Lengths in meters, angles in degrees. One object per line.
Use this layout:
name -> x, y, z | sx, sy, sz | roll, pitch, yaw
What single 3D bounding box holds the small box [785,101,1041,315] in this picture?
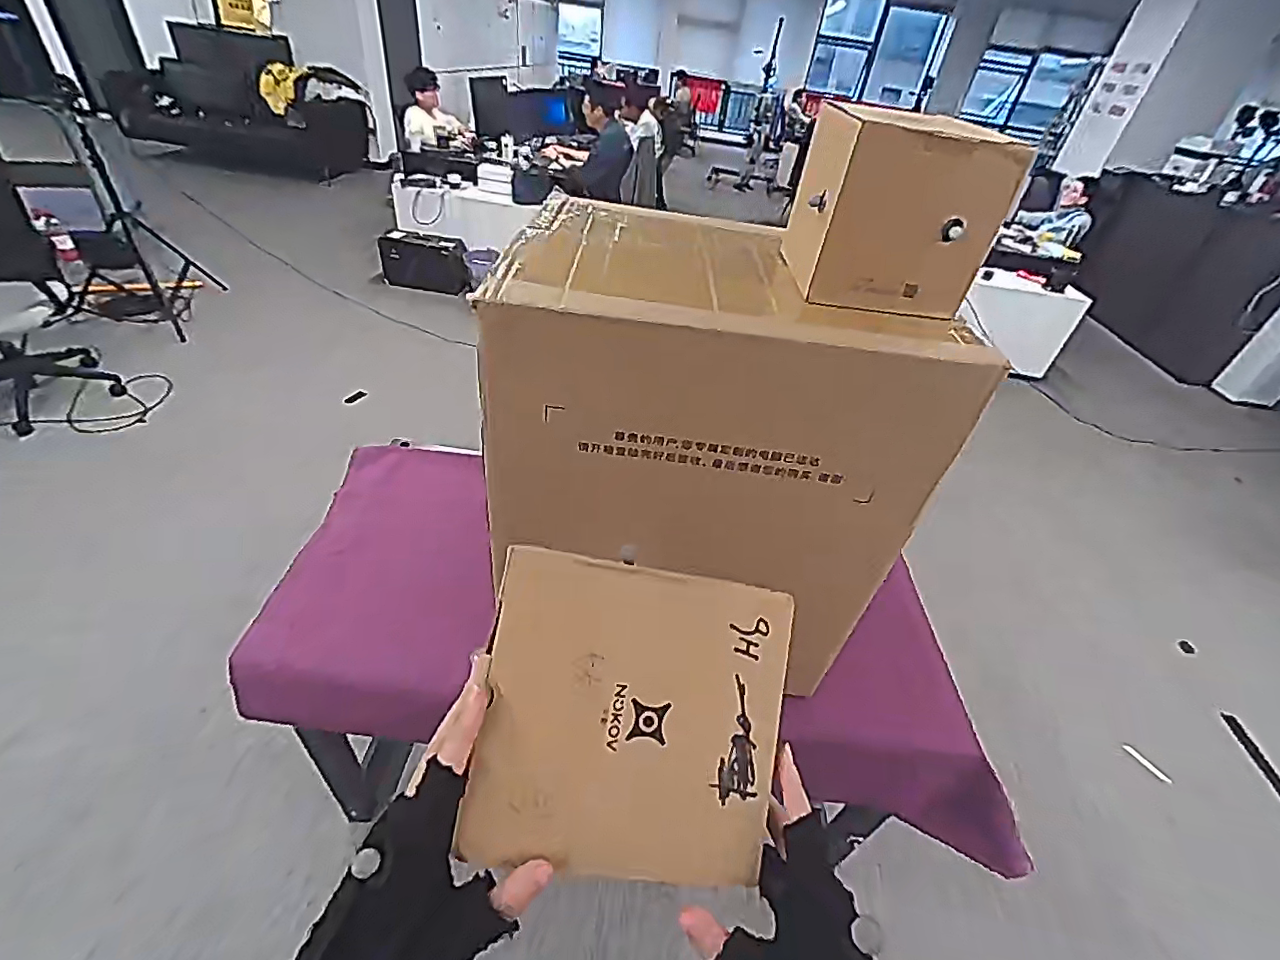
small box -> 0.272, -0.296, 0.592 | 0.168, 0.176, 0.179 | 7, 39, -3
